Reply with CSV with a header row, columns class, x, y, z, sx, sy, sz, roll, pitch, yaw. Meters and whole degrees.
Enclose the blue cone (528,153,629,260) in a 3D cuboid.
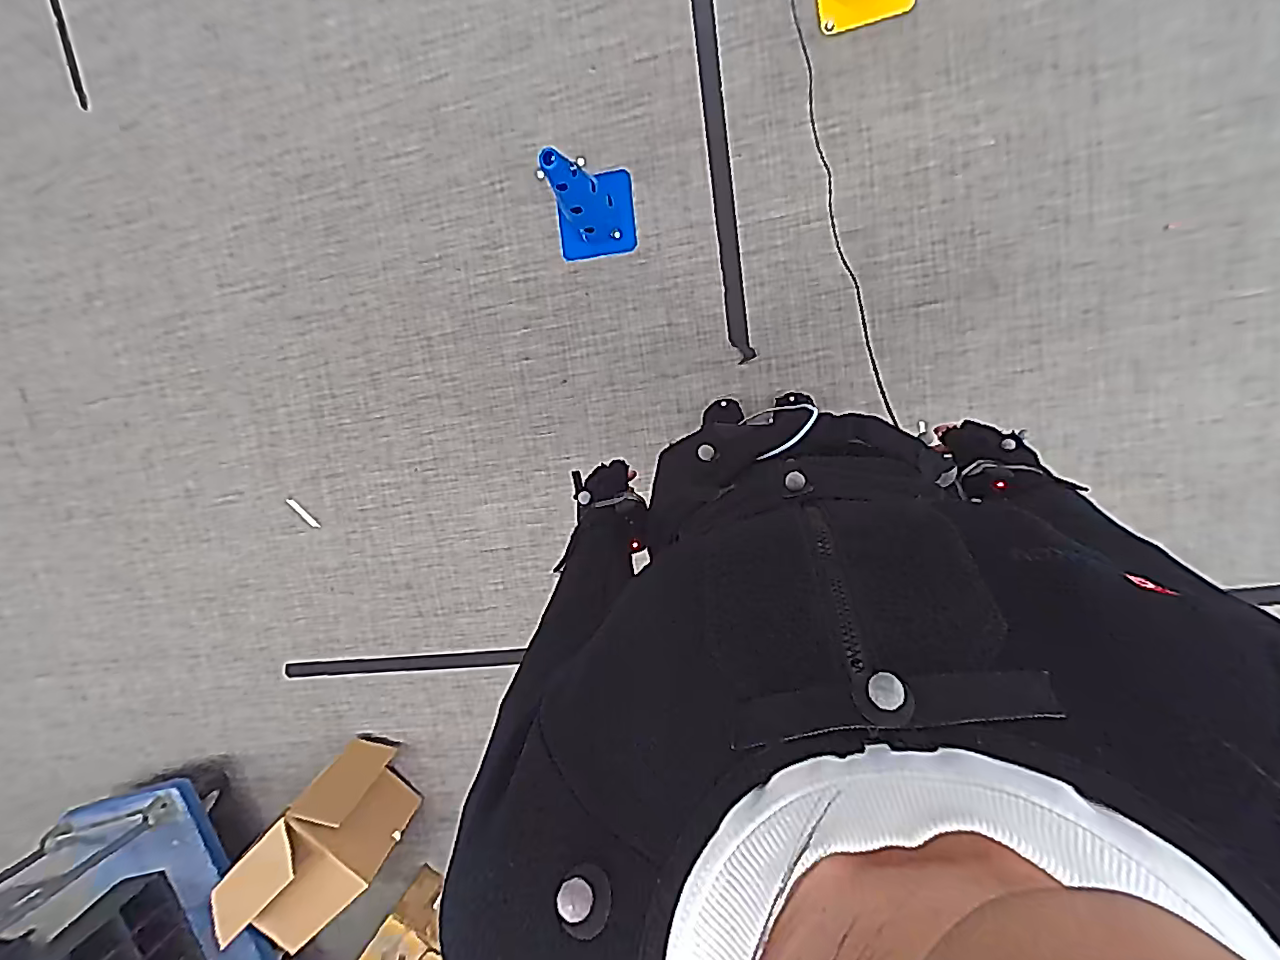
class,x,y,z,sx,sy,sz,roll,pitch,yaw
blue cone,-0.157,-0.651,1.233,0.192,0.380,0.193,-2,98,12
